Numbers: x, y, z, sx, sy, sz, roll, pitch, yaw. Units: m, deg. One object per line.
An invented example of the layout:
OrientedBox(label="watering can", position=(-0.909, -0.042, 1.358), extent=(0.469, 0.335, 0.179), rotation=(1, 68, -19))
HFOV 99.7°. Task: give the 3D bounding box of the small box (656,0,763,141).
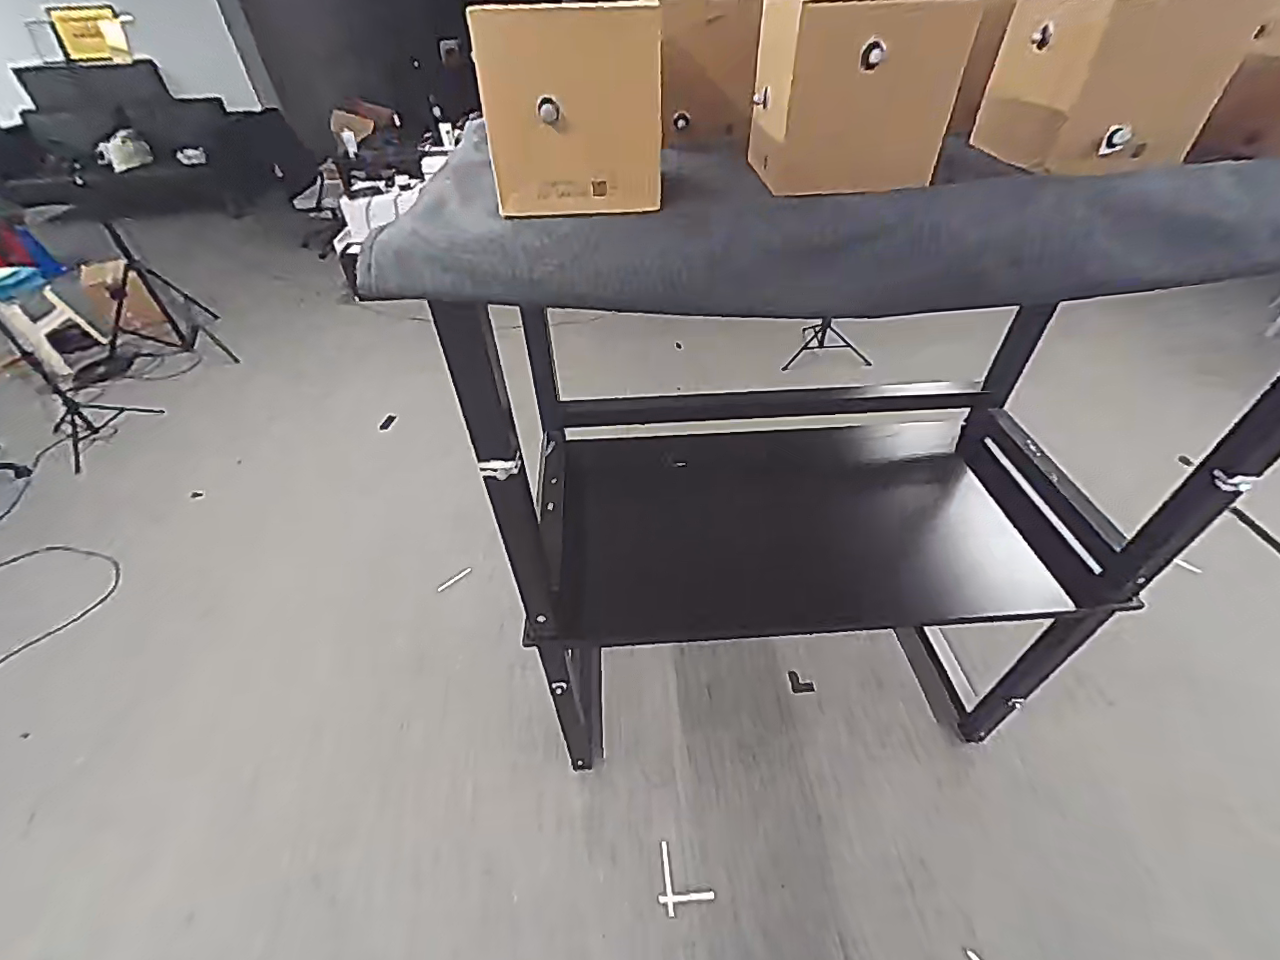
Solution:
OrientedBox(label="small box", position=(0.094, -0.601, 0.781), extent=(0.168, 0.176, 0.179), rotation=(-6, 44, -5))

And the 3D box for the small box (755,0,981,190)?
OrientedBox(label="small box", position=(0.230, -0.434, 0.599), extent=(0.179, 0.176, 0.168), rotation=(-2, 44, -1))

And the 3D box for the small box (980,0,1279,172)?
OrientedBox(label="small box", position=(0.540, -0.472, 0.629), extent=(0.168, 0.176, 0.179), rotation=(-3, 43, 0))

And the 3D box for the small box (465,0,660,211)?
OrientedBox(label="small box", position=(-0.067, -0.391, 0.564), extent=(0.168, 0.176, 0.179), rotation=(-3, 41, -2))
